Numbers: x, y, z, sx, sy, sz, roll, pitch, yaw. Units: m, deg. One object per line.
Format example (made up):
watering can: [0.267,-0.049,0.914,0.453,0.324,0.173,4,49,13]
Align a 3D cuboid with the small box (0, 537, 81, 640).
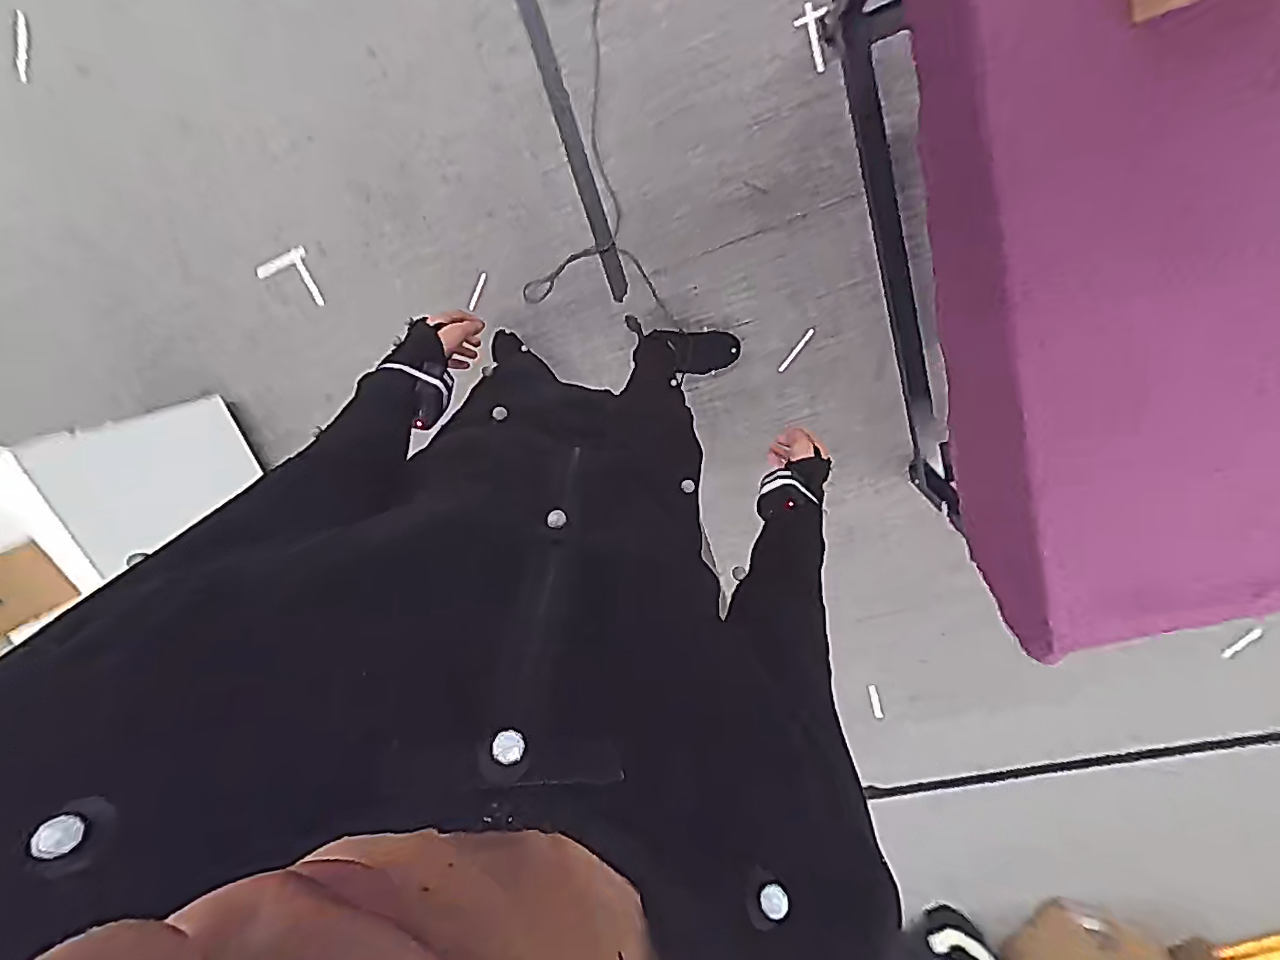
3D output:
small box: [-1.460,0.258,1.232,0.168,0.176,0.179,-20,108,14]
